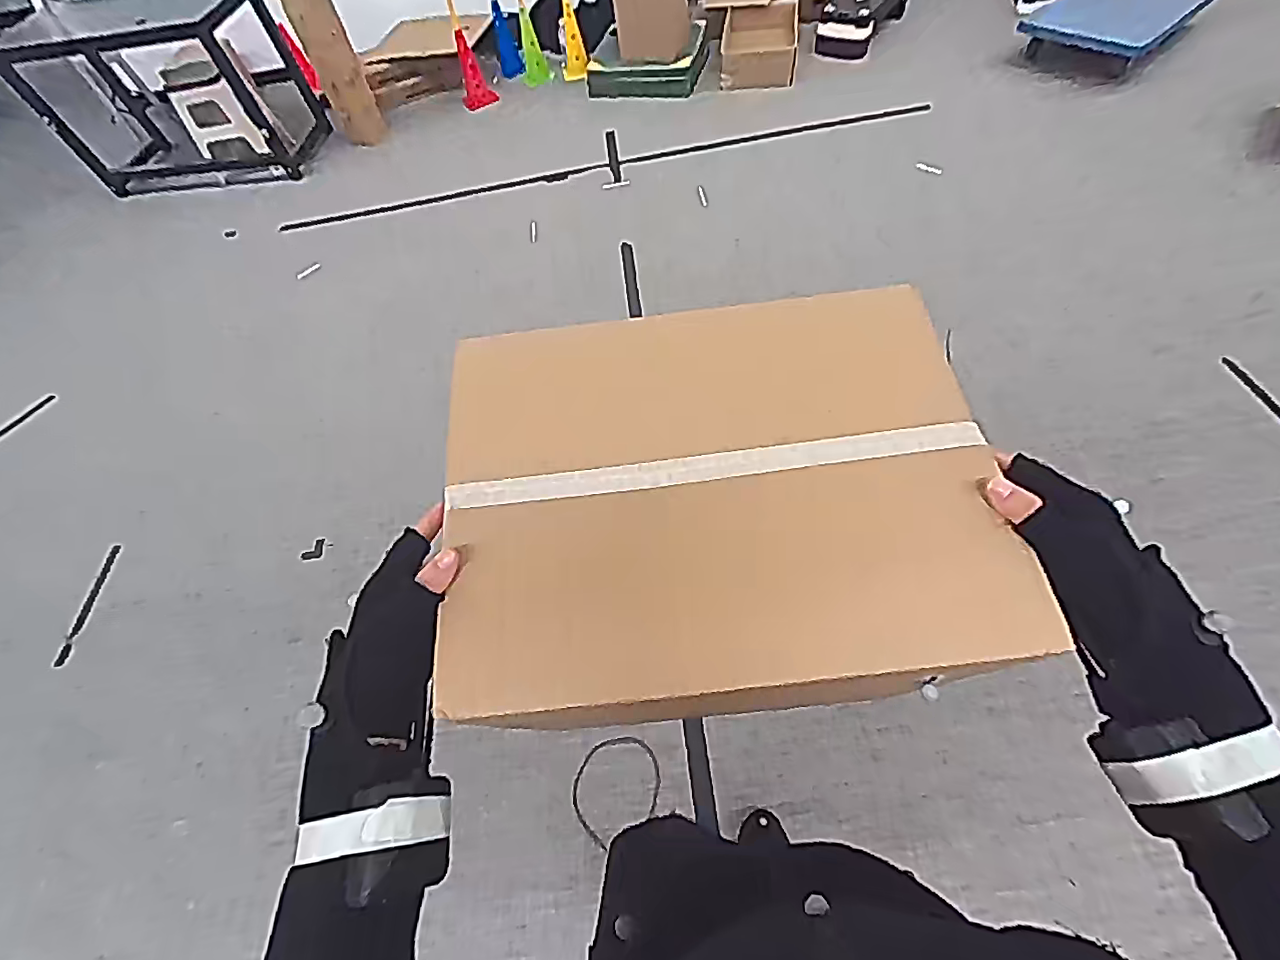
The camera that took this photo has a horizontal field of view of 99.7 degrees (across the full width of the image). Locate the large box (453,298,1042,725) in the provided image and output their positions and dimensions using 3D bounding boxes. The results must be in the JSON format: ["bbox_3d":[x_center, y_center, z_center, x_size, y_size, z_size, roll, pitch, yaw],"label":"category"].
[{"bbox_3d":[0.067,0.062,0.556,0.408,0.320,0.320,-7,63,1],"label":"large box"}]
